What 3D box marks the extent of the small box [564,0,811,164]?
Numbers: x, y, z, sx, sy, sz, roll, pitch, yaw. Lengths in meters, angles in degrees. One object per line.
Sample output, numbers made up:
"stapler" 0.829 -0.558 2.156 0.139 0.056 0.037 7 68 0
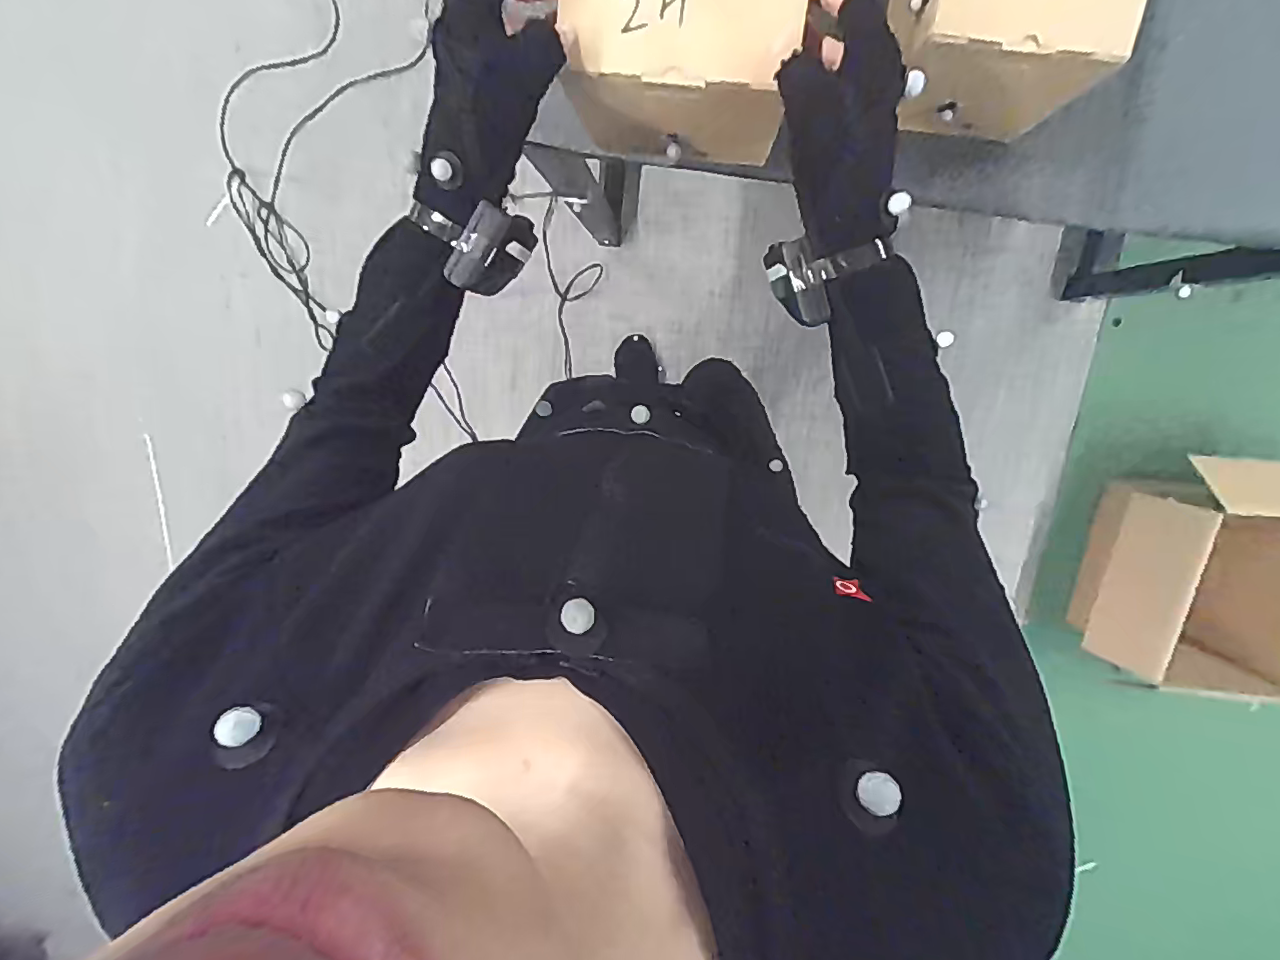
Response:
"small box" 0.044 -0.380 0.429 0.168 0.176 0.179 8 106 4
